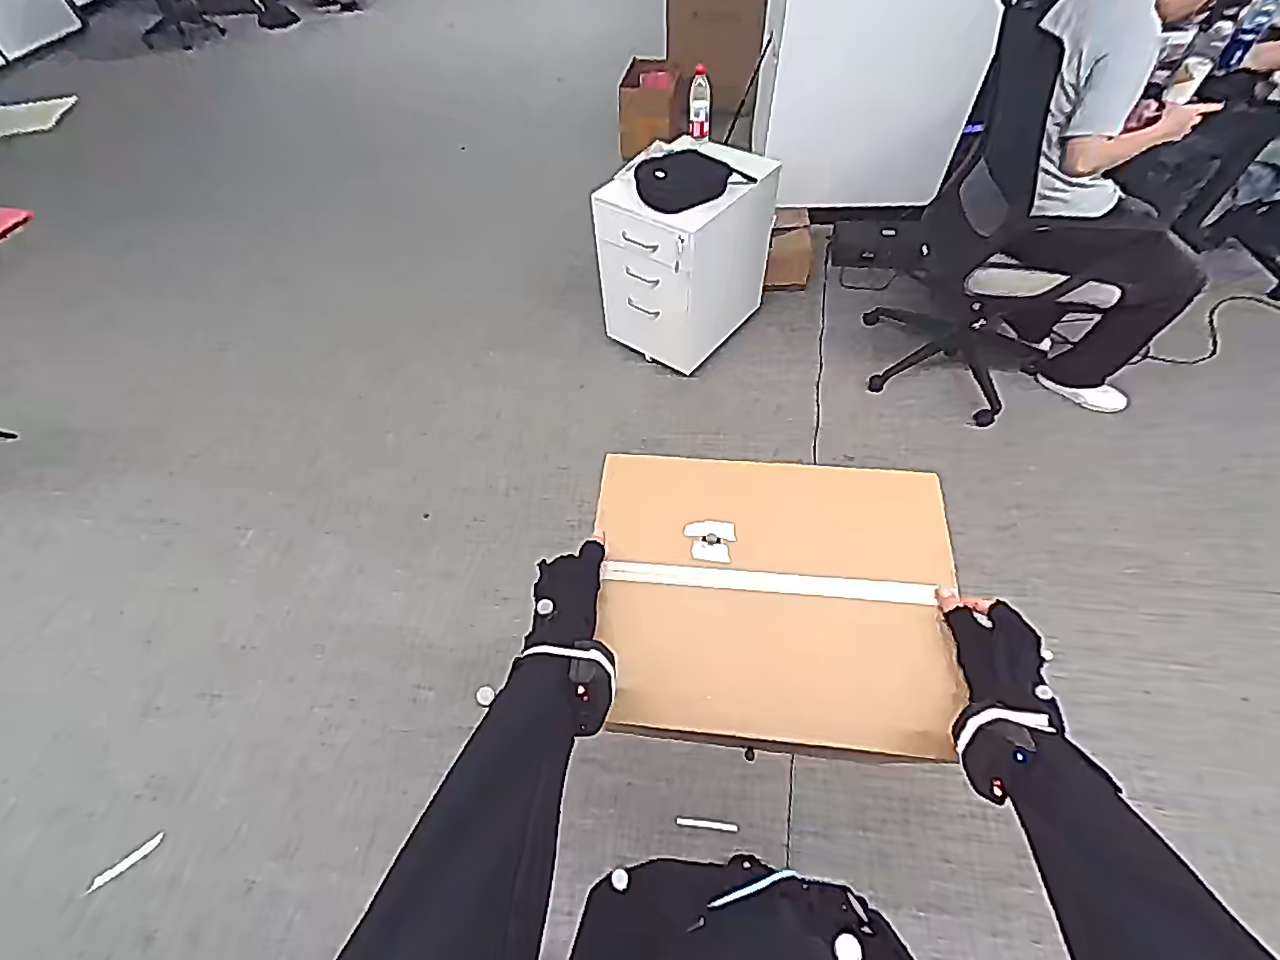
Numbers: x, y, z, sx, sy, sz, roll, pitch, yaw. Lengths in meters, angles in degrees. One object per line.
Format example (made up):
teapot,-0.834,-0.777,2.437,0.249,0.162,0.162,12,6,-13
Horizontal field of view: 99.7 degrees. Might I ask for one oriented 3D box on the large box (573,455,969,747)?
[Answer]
large box,0.154,0.178,0.745,0.408,0.320,0.320,4,63,7
